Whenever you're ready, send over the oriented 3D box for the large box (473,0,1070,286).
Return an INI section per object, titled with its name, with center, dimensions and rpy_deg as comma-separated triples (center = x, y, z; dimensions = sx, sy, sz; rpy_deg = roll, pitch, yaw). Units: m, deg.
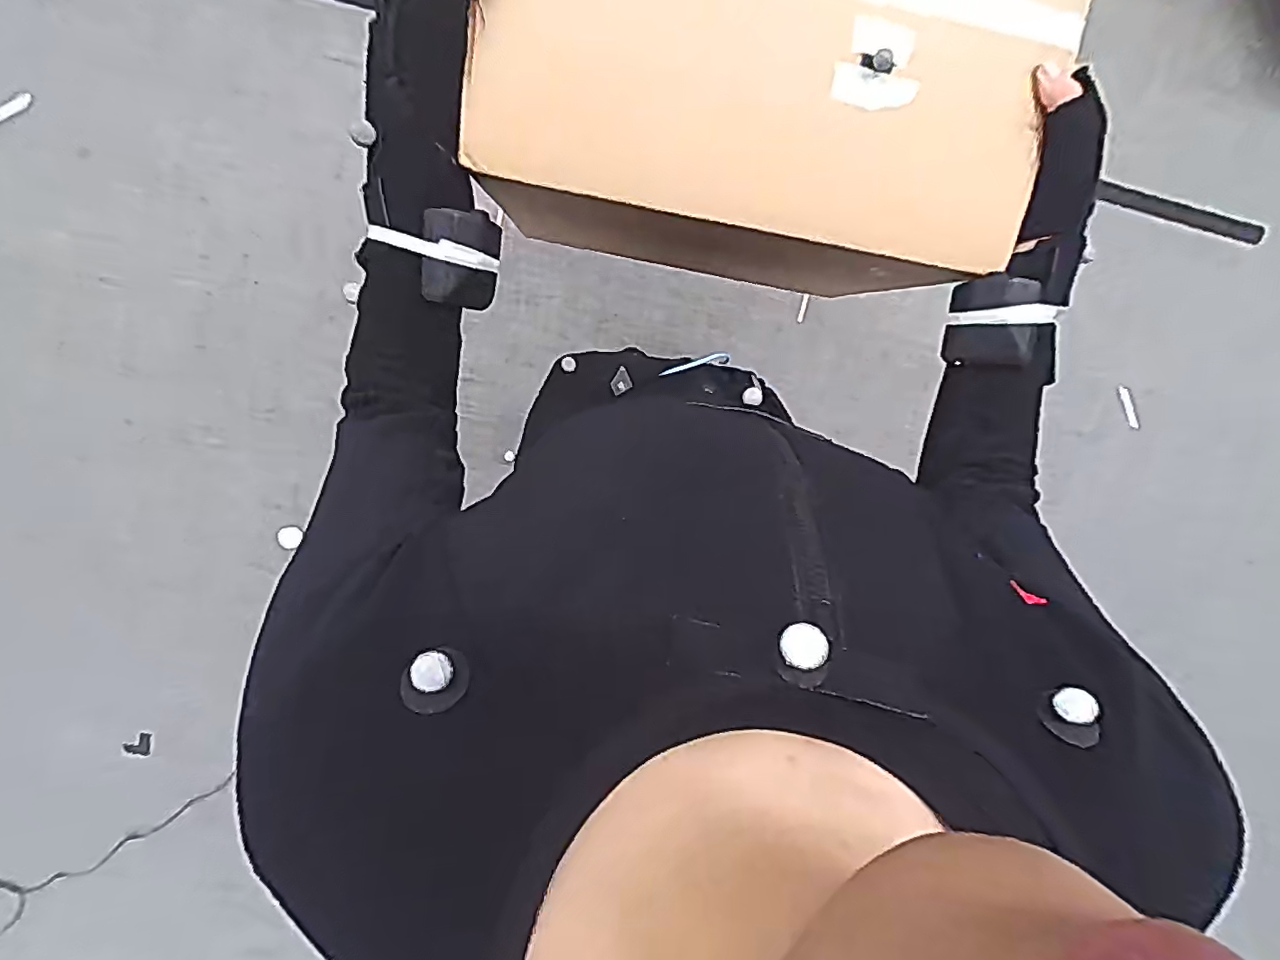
[large box]
center = 0.086, -0.380, 0.500
dimensions = 0.408, 0.320, 0.320
rpy_deg = 8, 106, -7
